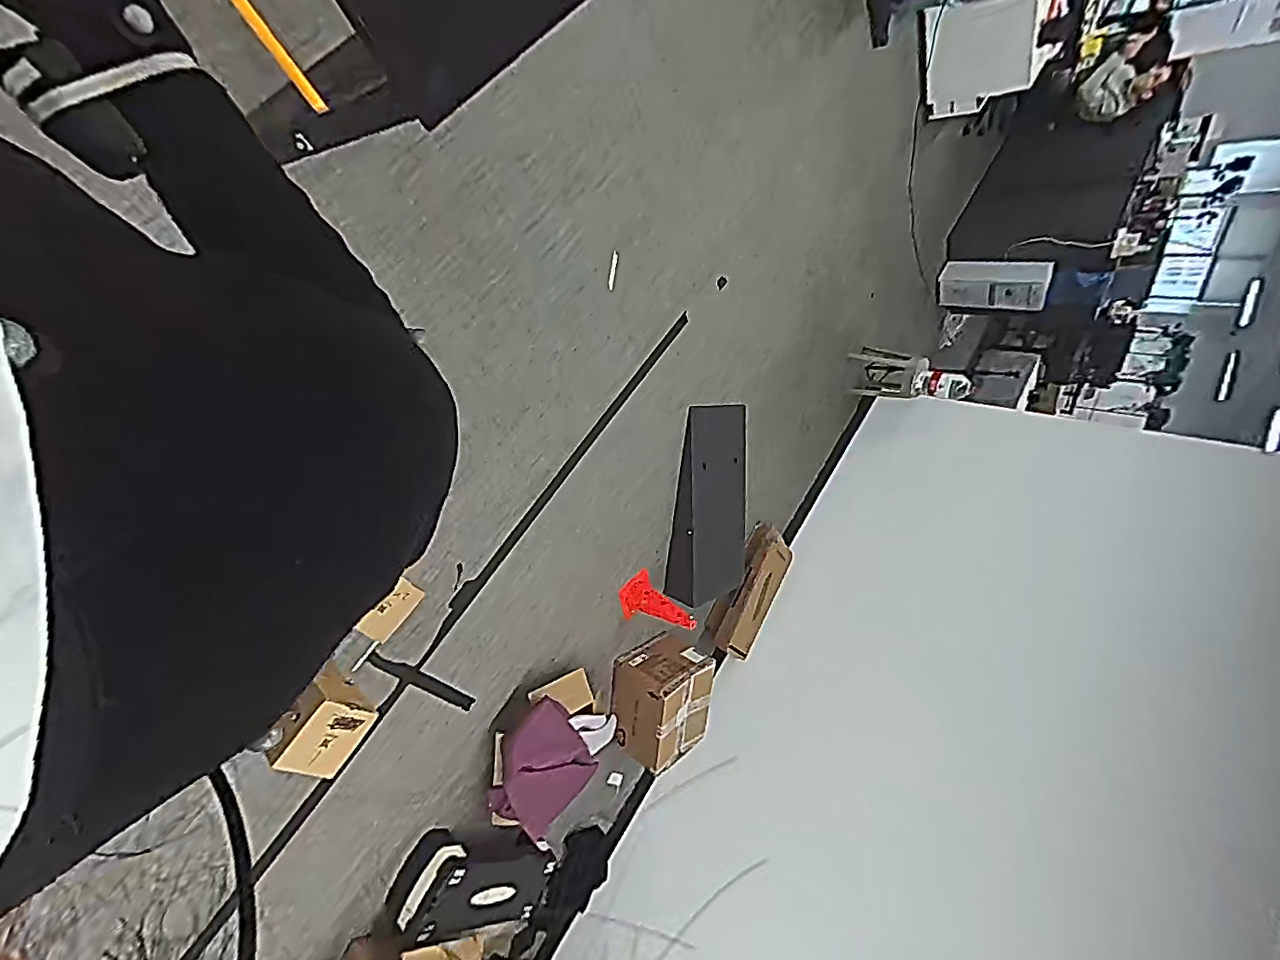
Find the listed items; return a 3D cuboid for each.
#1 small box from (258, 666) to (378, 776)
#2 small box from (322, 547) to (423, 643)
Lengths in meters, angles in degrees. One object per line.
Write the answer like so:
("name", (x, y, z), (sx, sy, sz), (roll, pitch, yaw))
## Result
("small box", (-0.804, 0.595, 1.344), (0.179, 0.176, 0.168), (-55, 139, -16))
("small box", (-0.765, 0.322, 1.533), (0.179, 0.176, 0.168), (-53, 138, -20))
